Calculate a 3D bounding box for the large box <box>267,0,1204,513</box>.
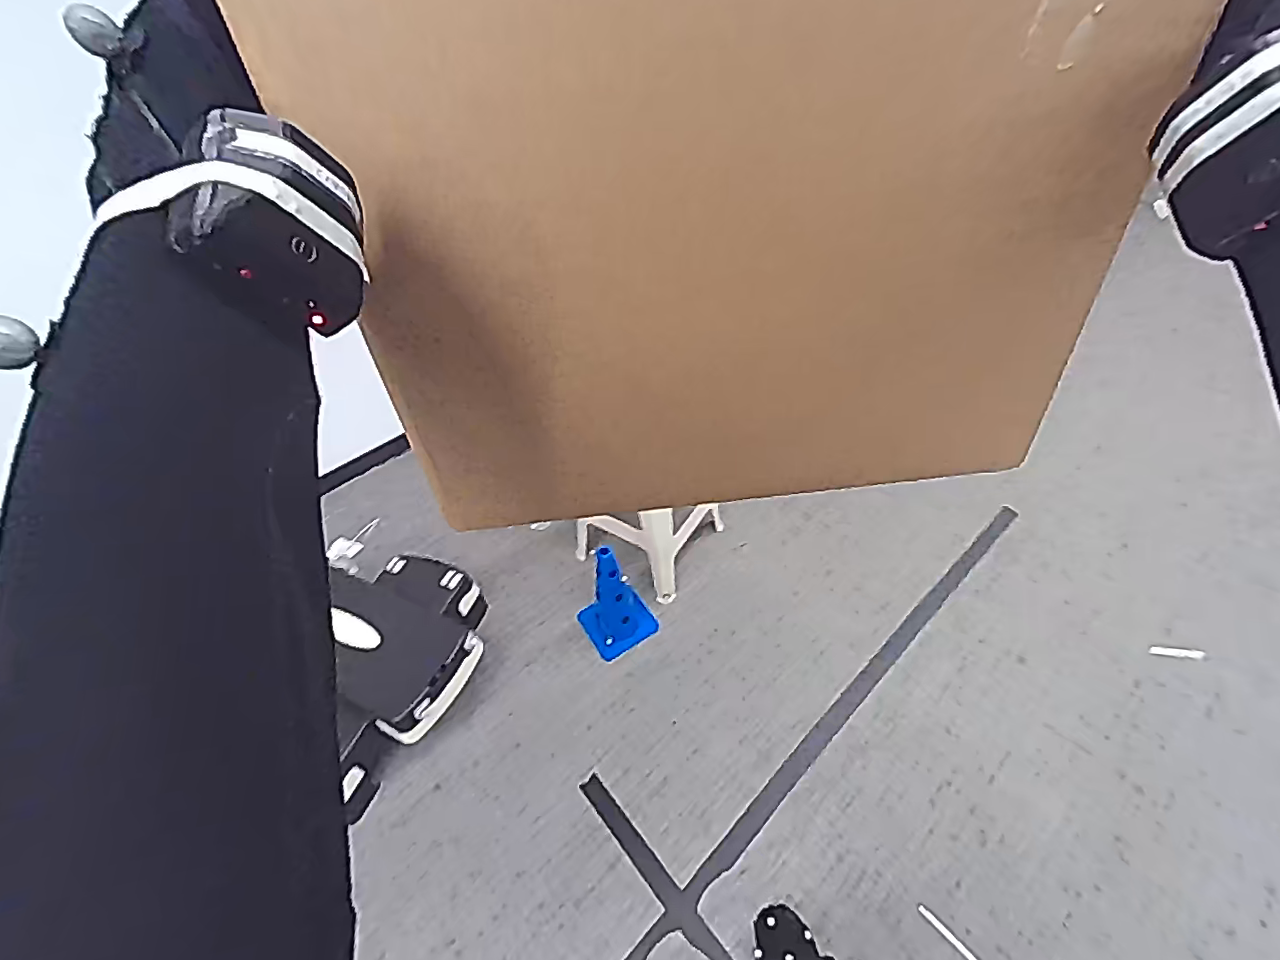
[{"bbox_3d":[0.045,-0.202,0.404,0.408,0.320,0.320,-6,39,0],"label":"large box"}]
